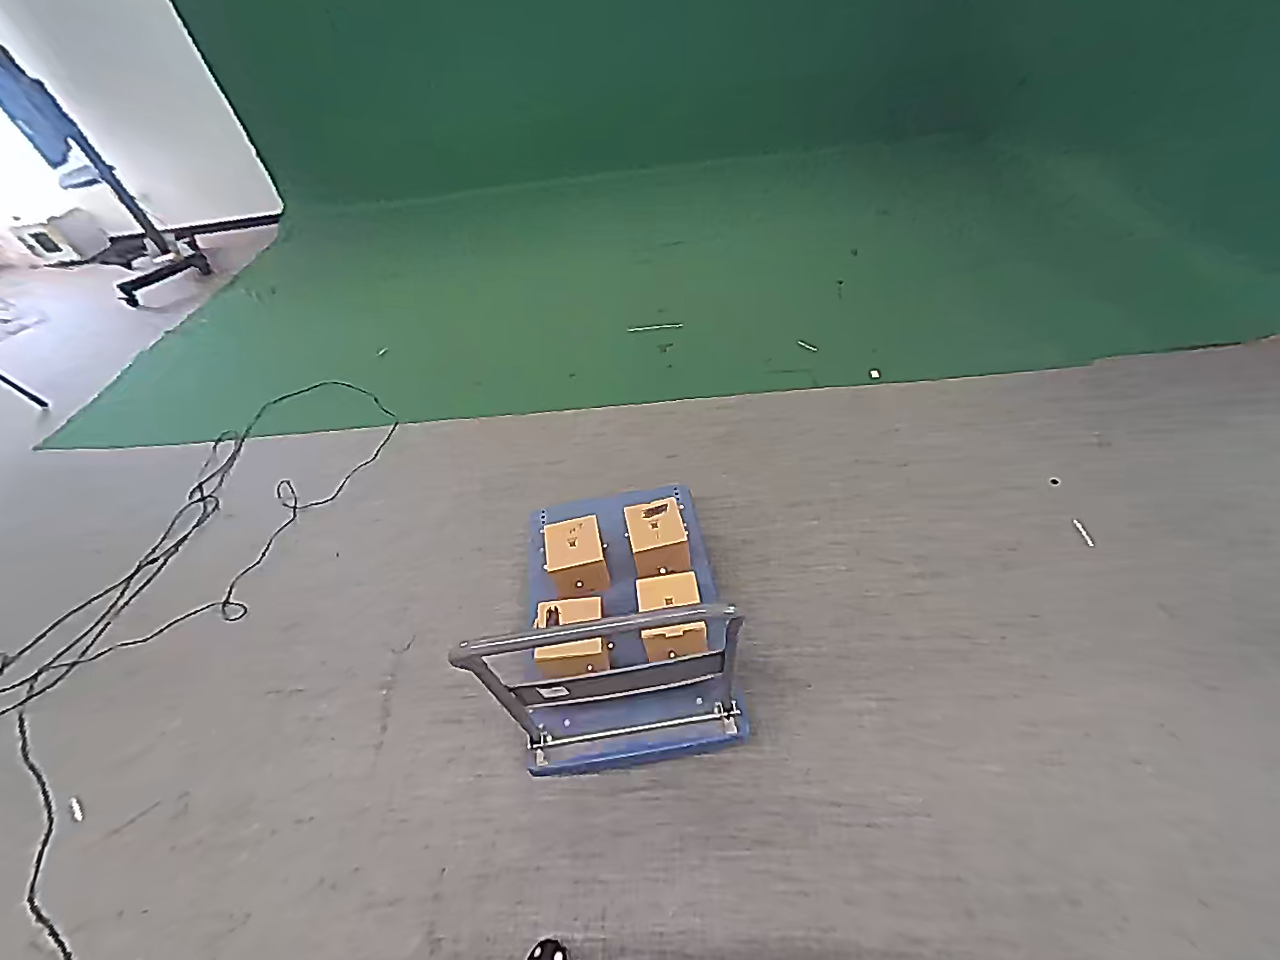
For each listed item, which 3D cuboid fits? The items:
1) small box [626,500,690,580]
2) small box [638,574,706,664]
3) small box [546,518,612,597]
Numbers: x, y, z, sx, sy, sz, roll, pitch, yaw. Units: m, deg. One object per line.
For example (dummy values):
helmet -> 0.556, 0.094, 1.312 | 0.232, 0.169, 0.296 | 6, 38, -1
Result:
small box -> 0.057, 0.193, 1.694 | 0.168, 0.176, 0.179 | -13, 48, -1
small box -> 0.090, 0.388, 1.510 | 0.168, 0.176, 0.179 | -9, 47, 1
small box -> -0.189, 0.248, 1.684 | 0.168, 0.176, 0.179 | -12, 47, -3
